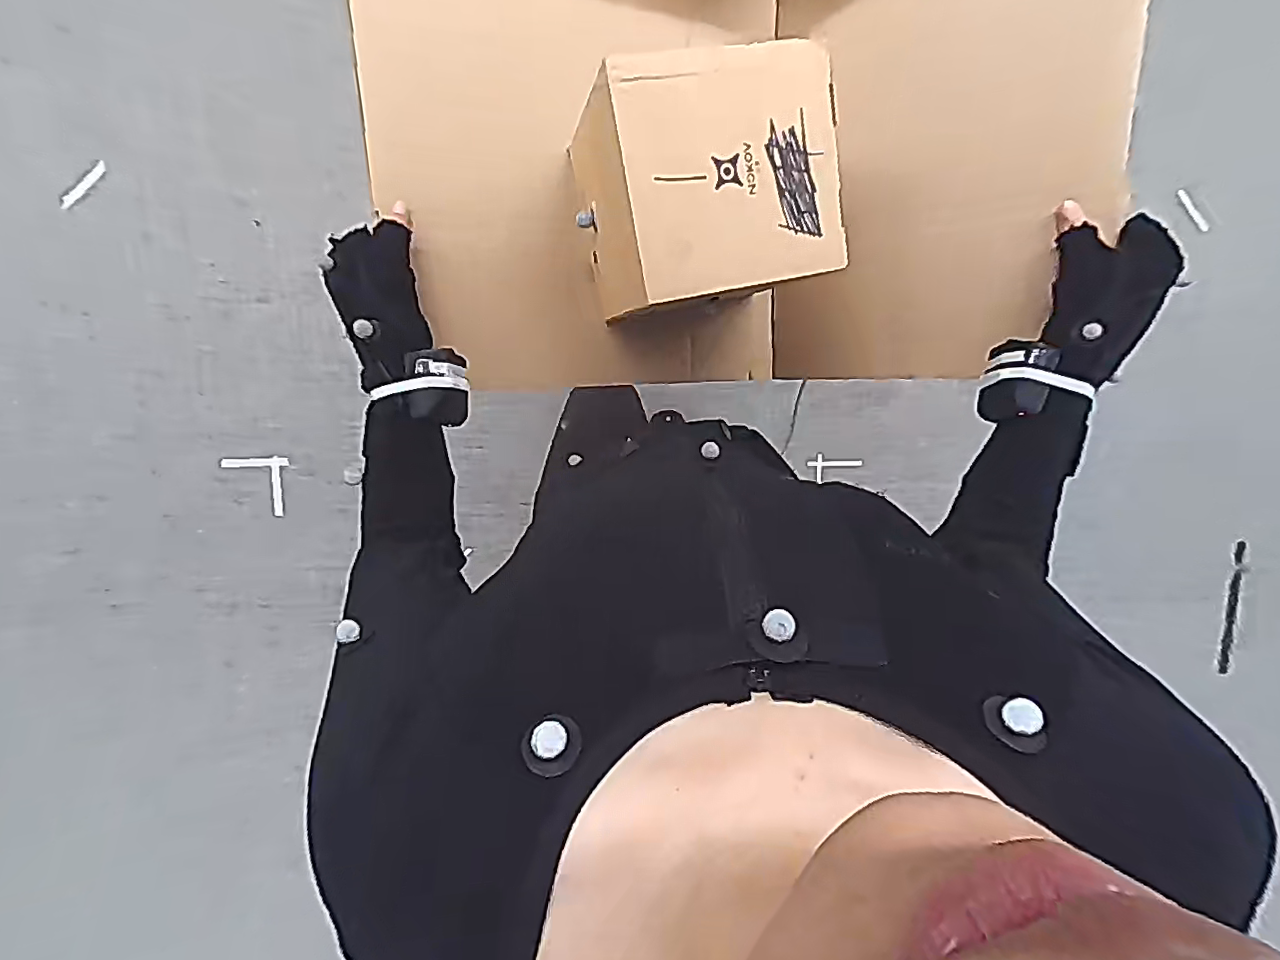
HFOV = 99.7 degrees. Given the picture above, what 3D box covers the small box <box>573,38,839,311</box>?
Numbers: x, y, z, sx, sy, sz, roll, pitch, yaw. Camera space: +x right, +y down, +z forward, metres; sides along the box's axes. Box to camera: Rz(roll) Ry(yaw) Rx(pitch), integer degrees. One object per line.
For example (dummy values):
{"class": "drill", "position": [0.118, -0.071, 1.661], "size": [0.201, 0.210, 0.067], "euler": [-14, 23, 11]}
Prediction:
{"class": "small box", "position": [0.050, -0.255, 0.487], "size": [0.179, 0.176, 0.168], "euler": [-14, 105, -11]}
